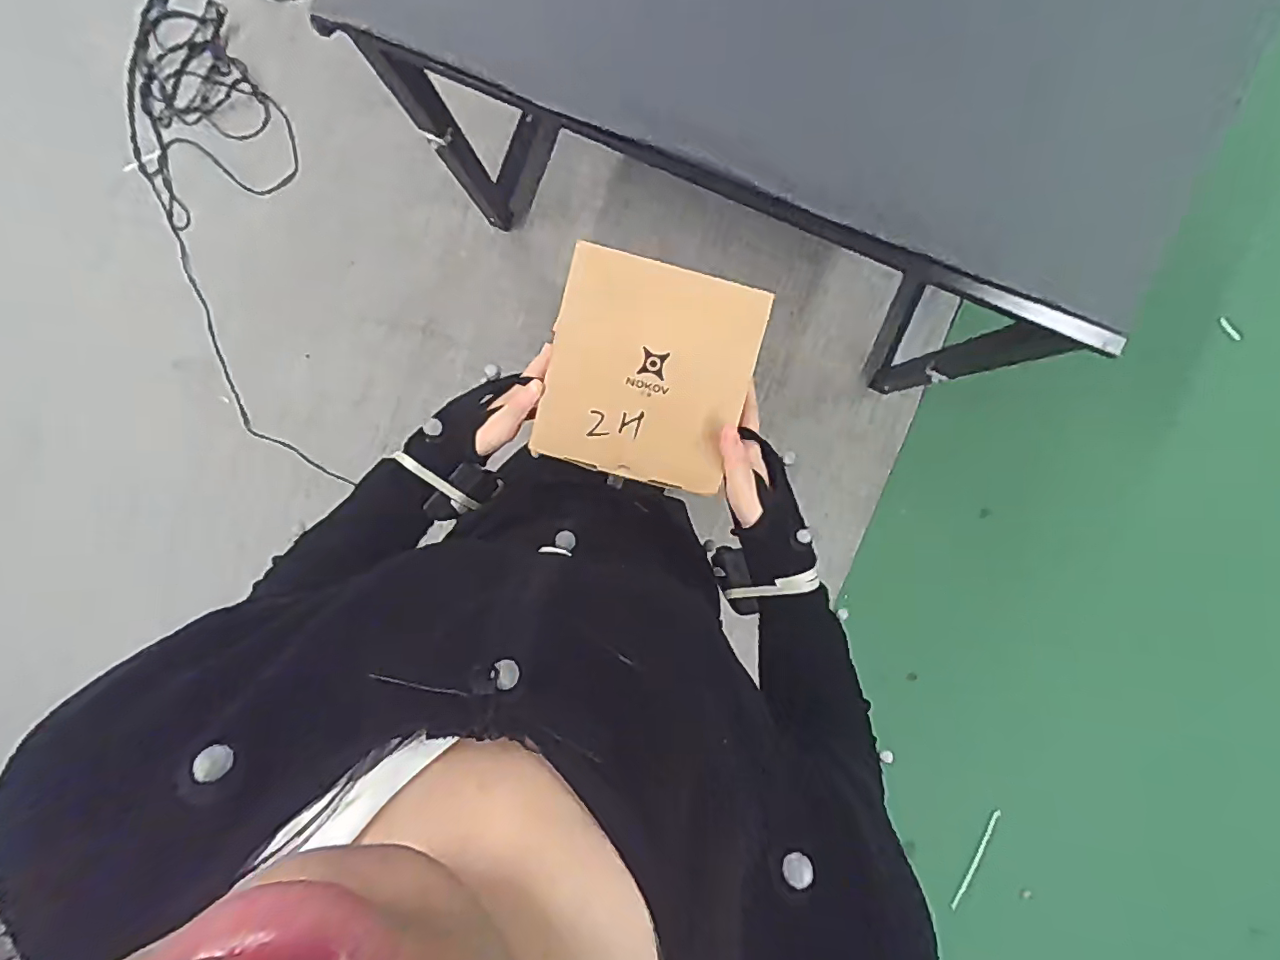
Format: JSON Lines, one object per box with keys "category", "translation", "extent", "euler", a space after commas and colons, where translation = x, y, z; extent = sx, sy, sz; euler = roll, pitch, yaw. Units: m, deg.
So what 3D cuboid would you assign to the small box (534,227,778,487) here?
{"category": "small box", "translation": [0.010, -0.107, 0.515], "extent": [0.168, 0.176, 0.179], "euler": [14, 98, -2]}
